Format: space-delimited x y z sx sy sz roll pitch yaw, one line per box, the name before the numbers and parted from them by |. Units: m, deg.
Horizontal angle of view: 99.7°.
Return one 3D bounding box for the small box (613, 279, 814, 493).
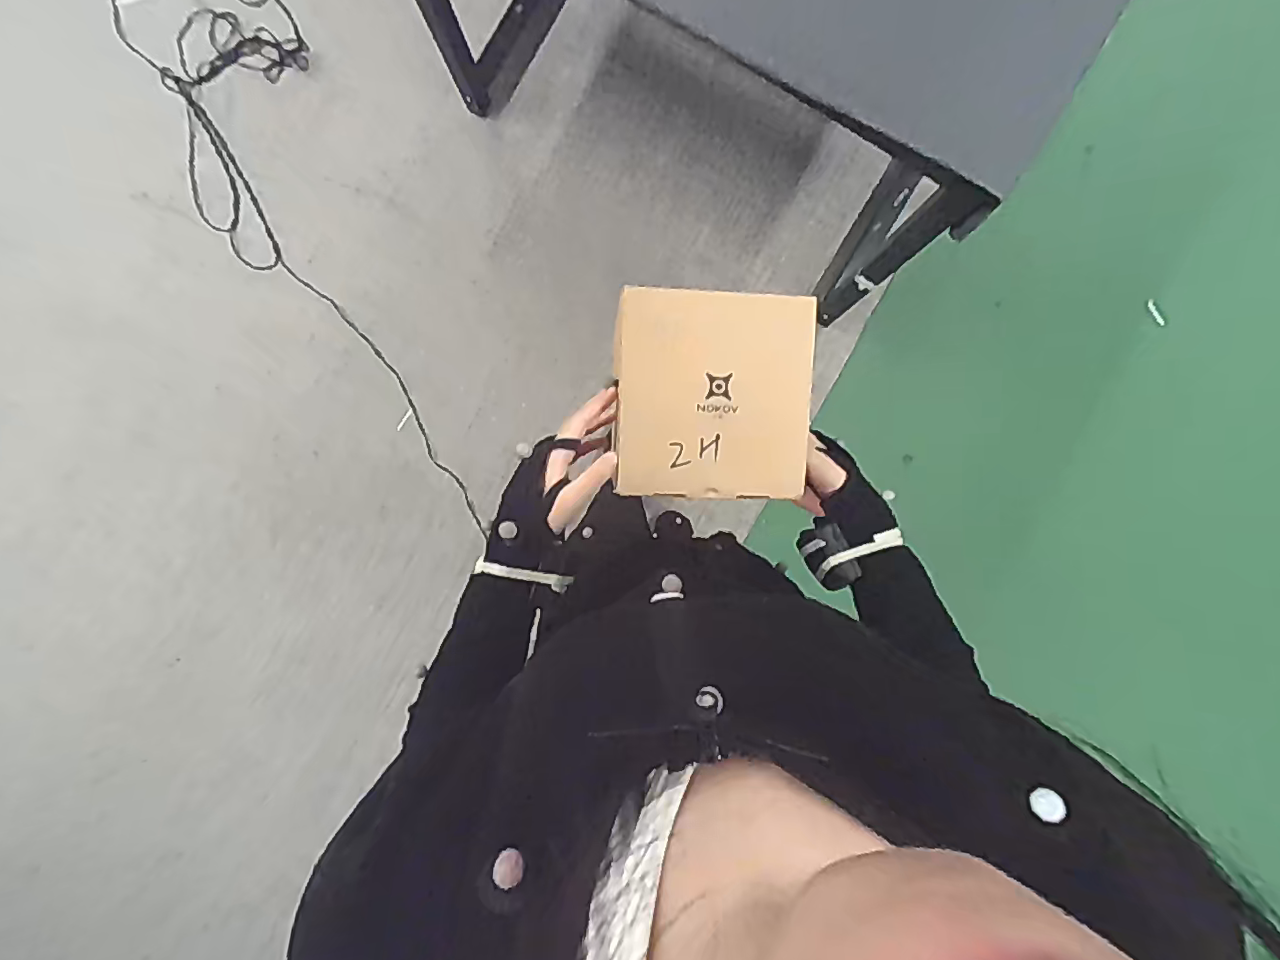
small box | 0.059 -0.086 0.542 0.168 0.176 0.179 2 96 -3
